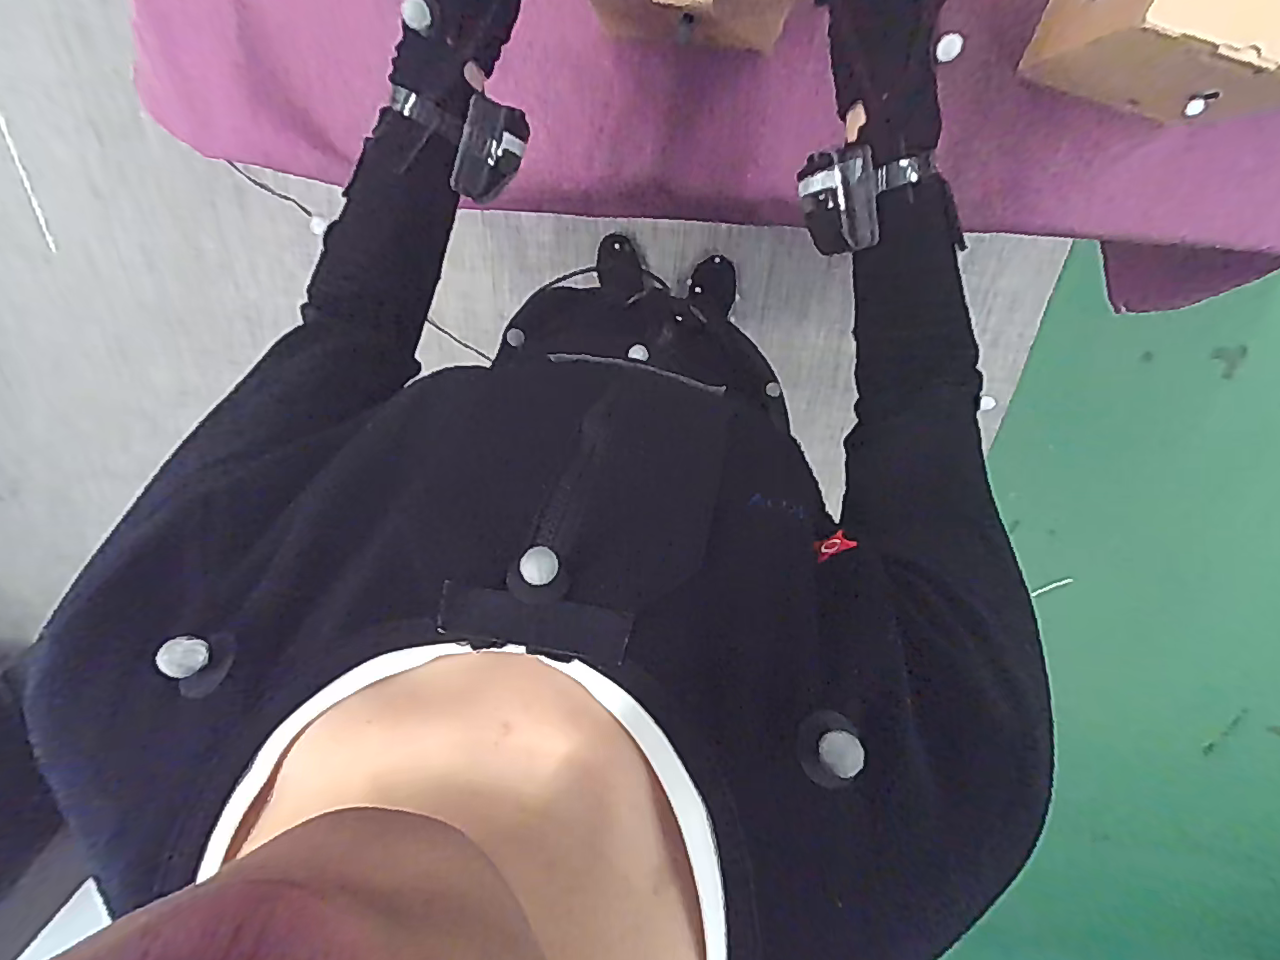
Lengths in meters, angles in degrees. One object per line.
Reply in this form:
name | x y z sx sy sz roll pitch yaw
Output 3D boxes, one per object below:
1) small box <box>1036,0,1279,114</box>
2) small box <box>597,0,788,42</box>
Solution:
small box | 0.449 -0.403 0.405 0.168 0.176 0.179 16 117 -2
small box | 0.049 -0.466 0.414 0.168 0.176 0.179 7 118 2
